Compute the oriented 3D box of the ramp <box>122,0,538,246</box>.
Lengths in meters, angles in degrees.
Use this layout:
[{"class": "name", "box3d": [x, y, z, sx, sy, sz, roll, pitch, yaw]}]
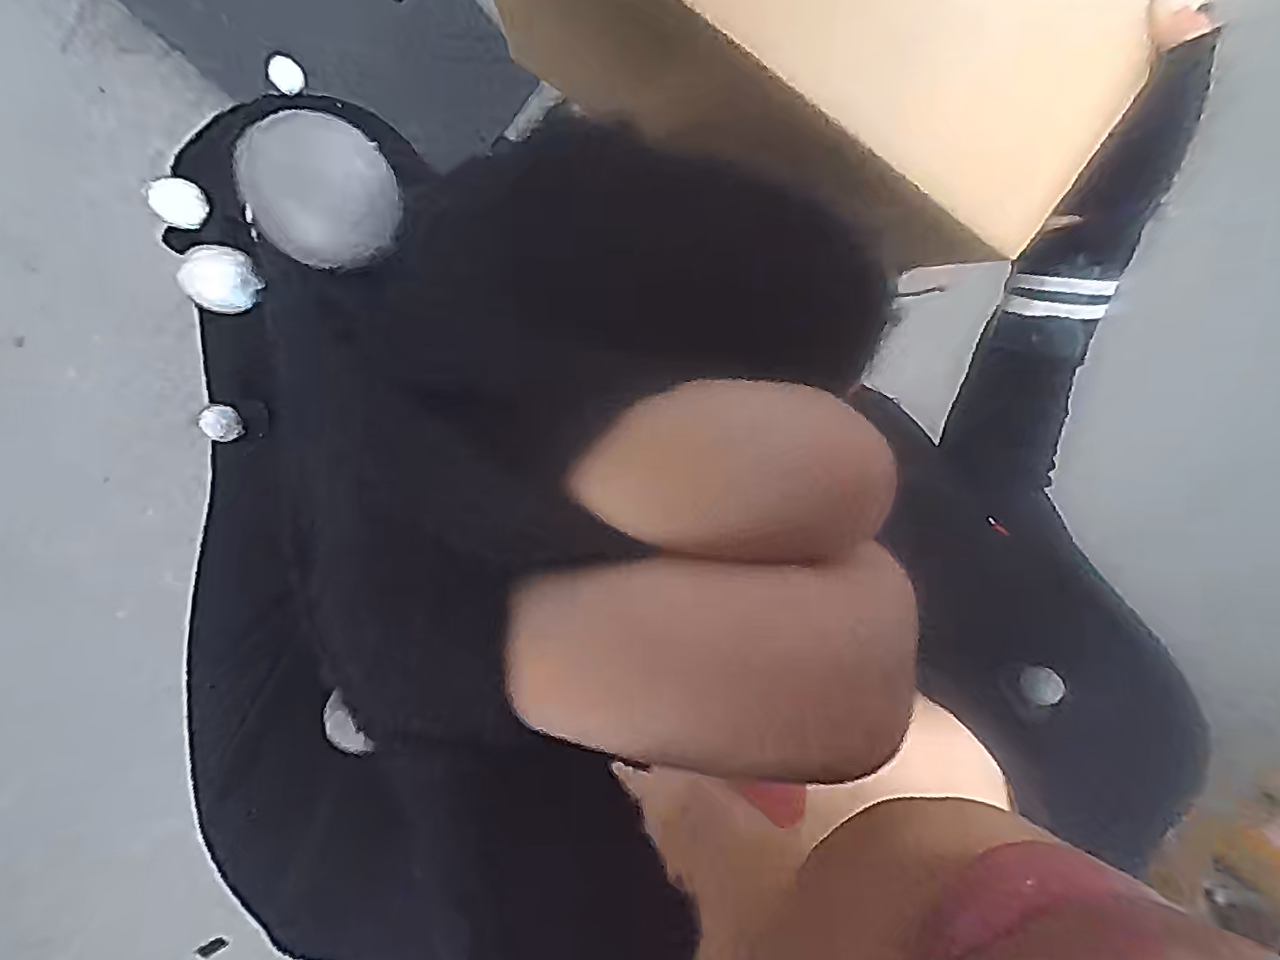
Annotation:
[{"class": "ramp", "box3d": [-0.730, -1.012, 1.045, 0.991, 0.206, 0.509, 40, 99, -15]}]
